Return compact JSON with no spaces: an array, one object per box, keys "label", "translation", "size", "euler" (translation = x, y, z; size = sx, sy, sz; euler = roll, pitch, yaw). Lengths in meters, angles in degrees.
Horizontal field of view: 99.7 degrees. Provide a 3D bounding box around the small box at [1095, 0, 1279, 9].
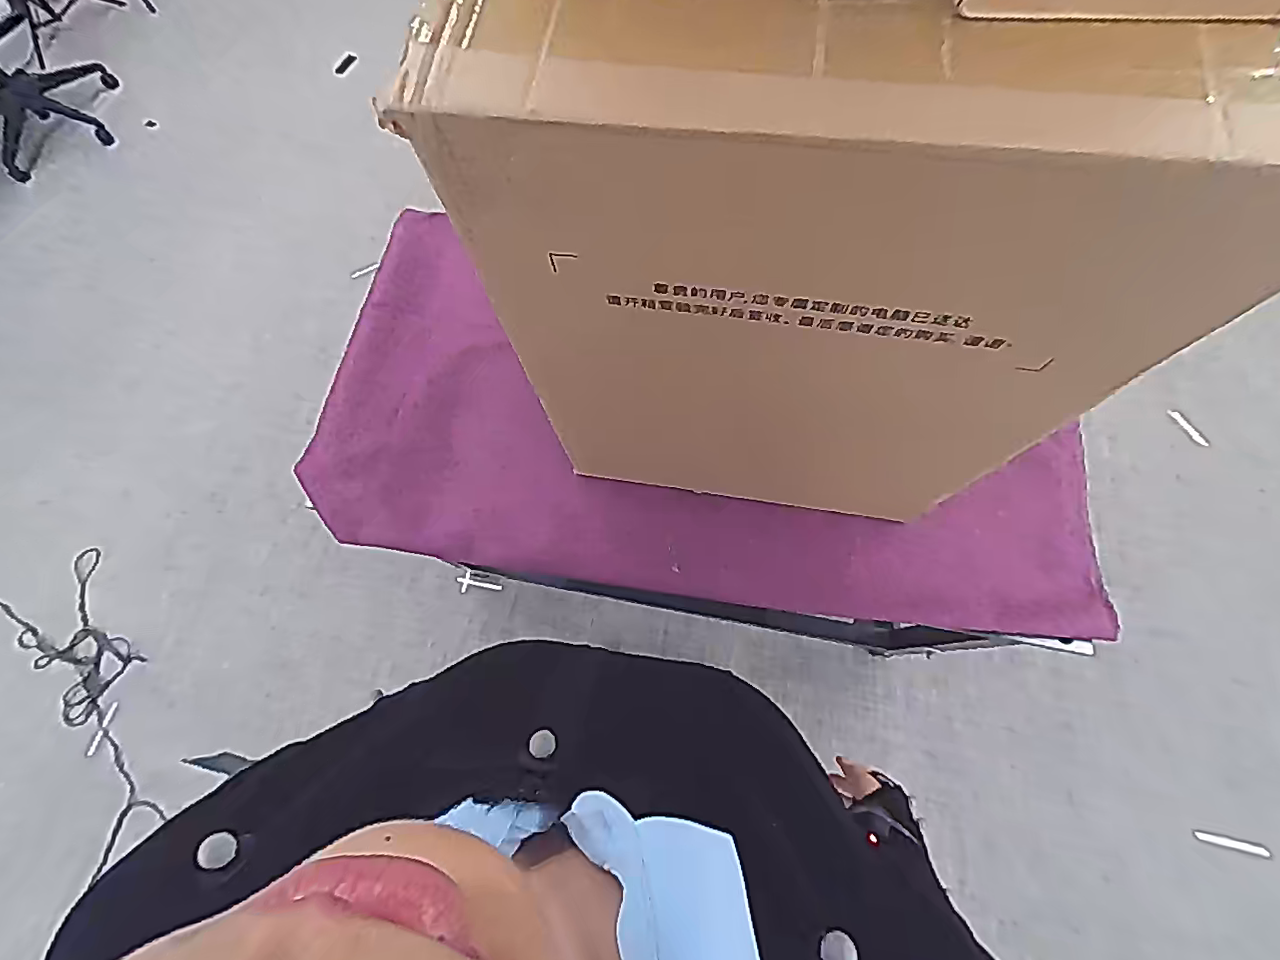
[{"label":"small box","translation":[0.255,-0.348,0.224],"size":[0.168,0.176,0.179],"euler":[6,72,6]}]
